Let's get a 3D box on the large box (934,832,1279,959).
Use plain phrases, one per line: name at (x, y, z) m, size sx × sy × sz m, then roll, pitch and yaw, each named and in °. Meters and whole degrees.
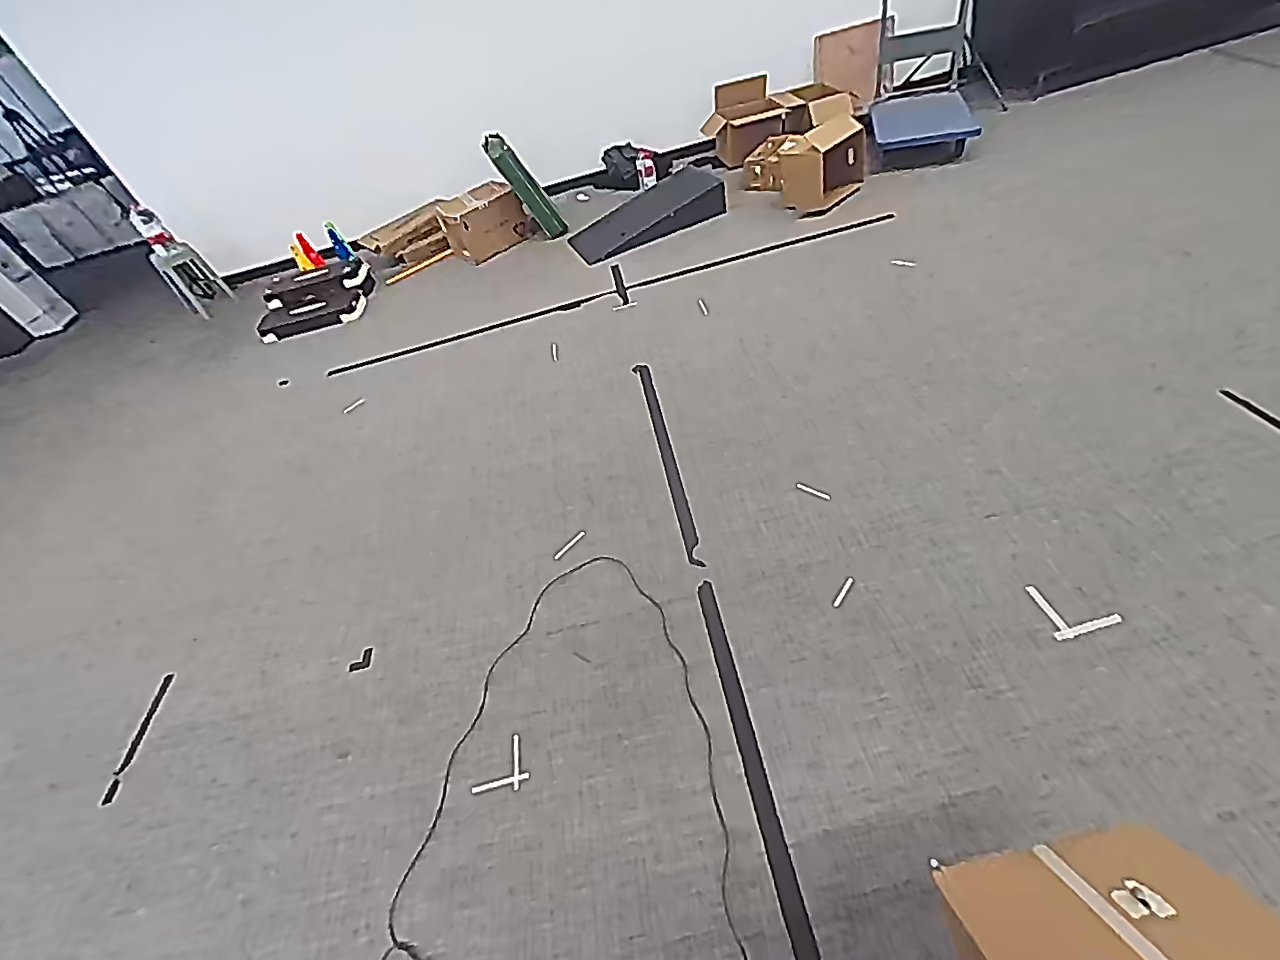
large box at (0.607, 0.680, 0.583) m, size 0.320 × 0.408 × 0.320 m, roll -15°, pitch 84°, yaw 4°
